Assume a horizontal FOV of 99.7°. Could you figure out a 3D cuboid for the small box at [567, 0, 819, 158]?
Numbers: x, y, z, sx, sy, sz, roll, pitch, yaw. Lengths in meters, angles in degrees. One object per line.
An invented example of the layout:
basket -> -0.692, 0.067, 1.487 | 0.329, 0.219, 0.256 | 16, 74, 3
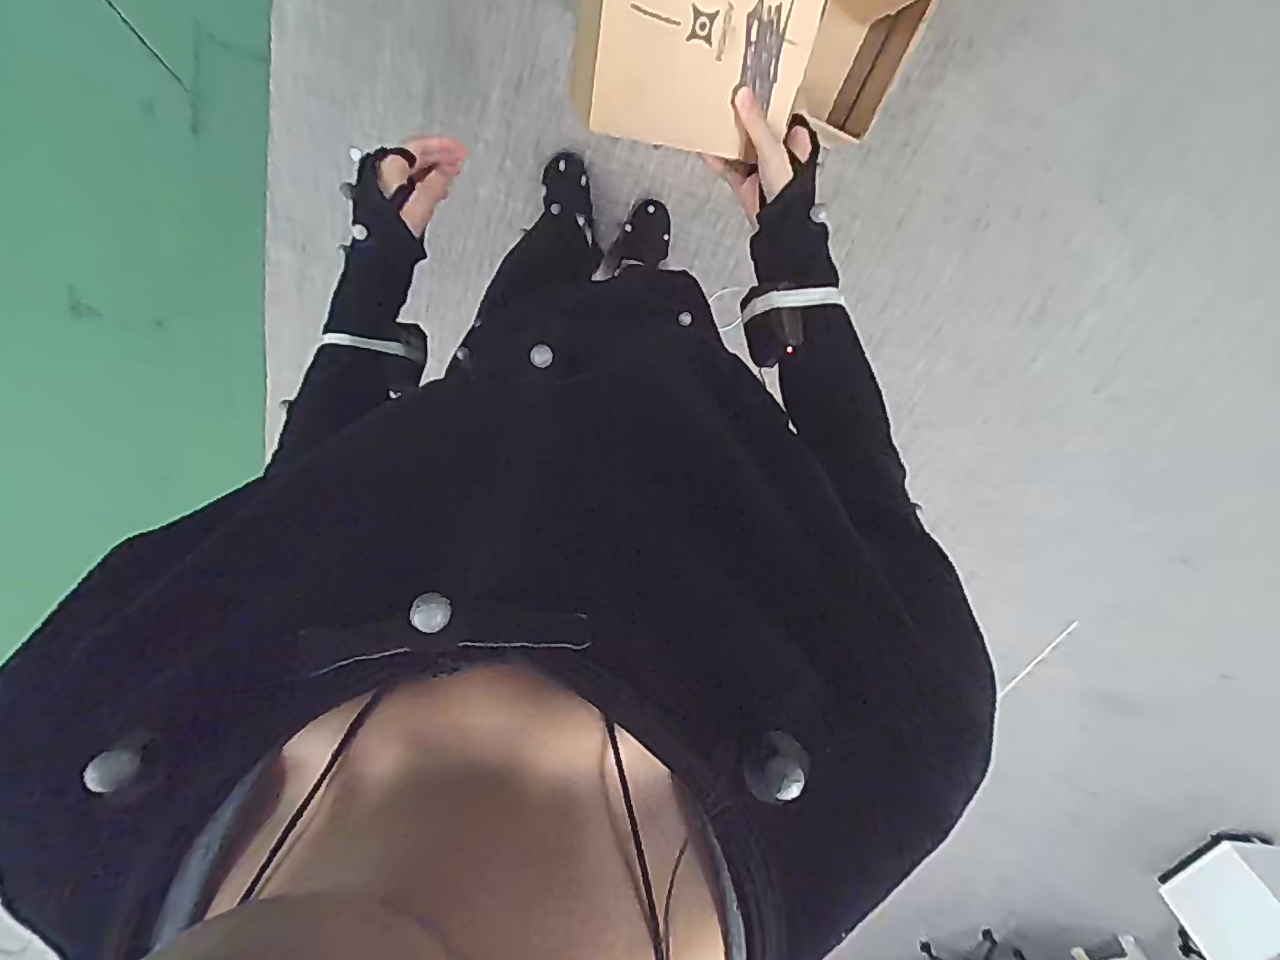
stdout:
small box -> 0.037, -0.408, 0.471 | 0.179, 0.176, 0.168 | 3, 132, -14
